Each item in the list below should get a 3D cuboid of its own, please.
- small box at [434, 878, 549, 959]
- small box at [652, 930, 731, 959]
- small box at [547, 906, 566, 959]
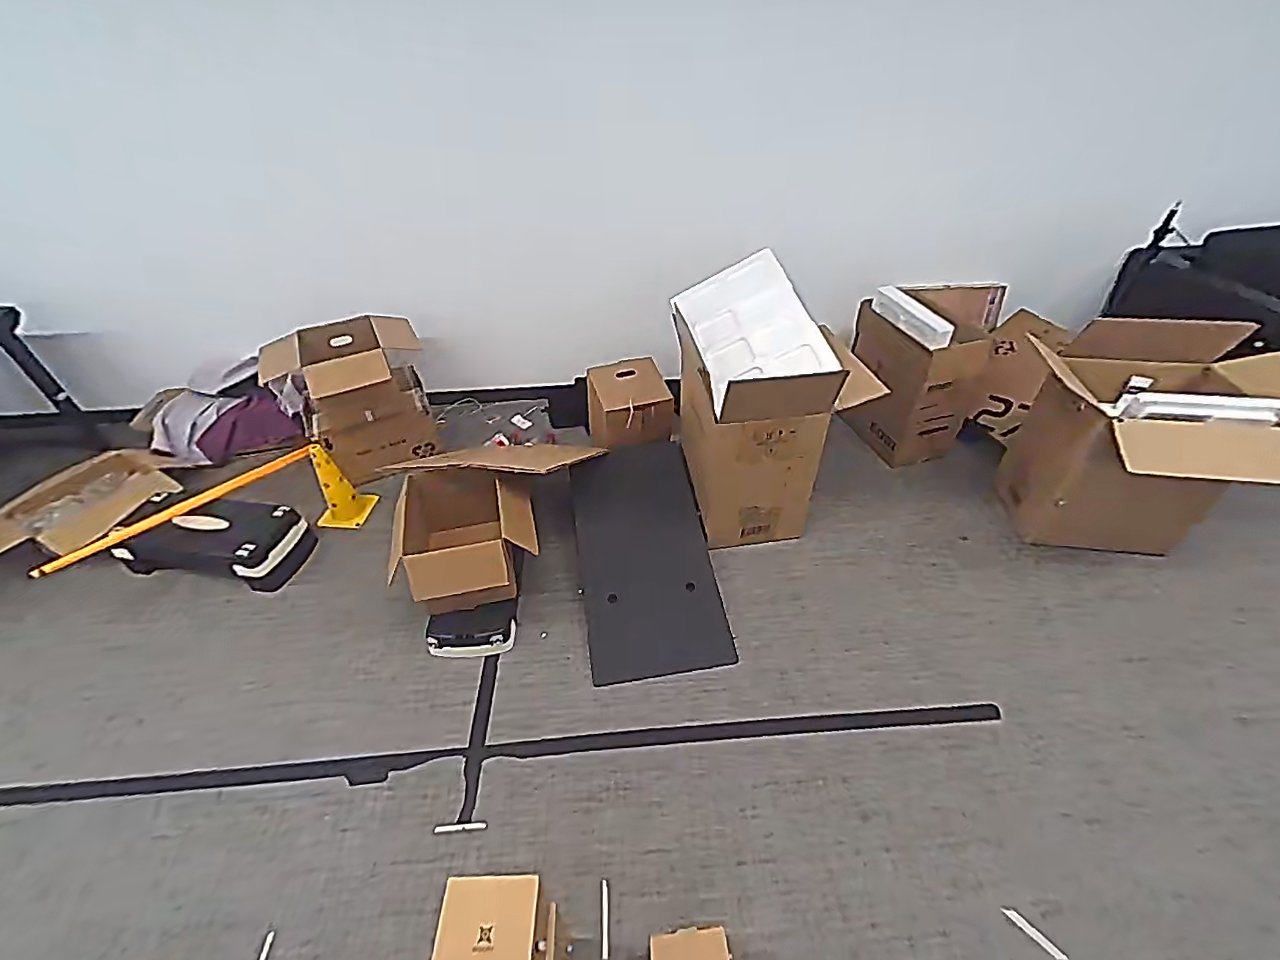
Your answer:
[{"bbox_3d":[-0.254,0.824,0.945,0.168,0.176,0.179,-1,41,-1],"label":"small box"},{"bbox_3d":[0.113,1.085,1.139,0.168,0.176,0.179,-5,42,-2],"label":"small box"},{"bbox_3d":[-0.242,0.951,1.047,0.179,0.176,0.168,-2,41,-3],"label":"small box"}]
